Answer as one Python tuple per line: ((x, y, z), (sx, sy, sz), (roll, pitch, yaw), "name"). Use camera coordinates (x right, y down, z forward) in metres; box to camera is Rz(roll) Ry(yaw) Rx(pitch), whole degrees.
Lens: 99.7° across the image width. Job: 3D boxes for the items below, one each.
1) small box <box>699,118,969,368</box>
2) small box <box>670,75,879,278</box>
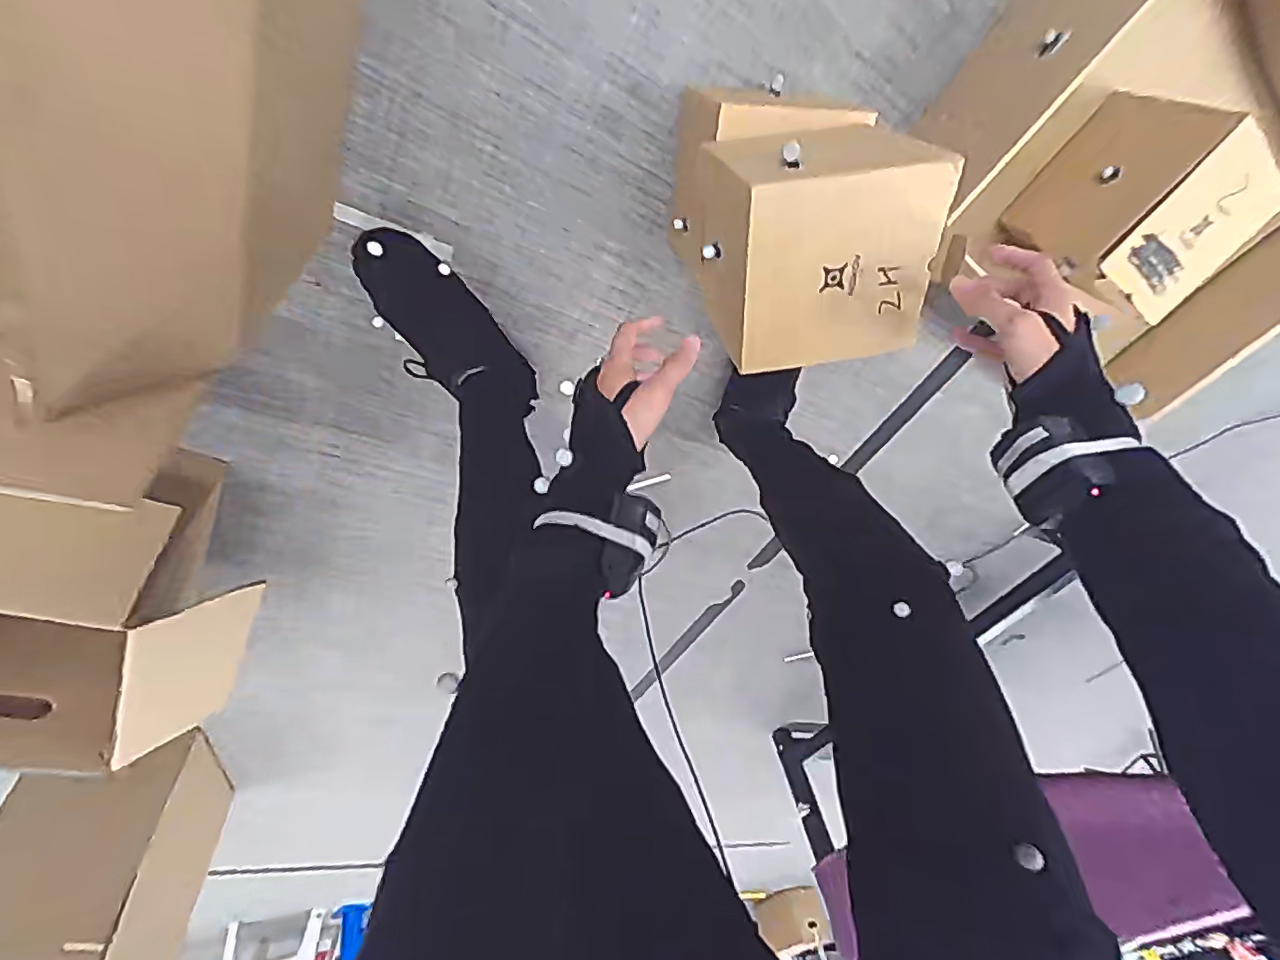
((0.157, -0.229, 0.515), (0.179, 0.176, 0.168), (-10, 133, -5), "small box")
((0.136, -0.349, 0.628), (0.168, 0.176, 0.179), (-3, 131, -10), "small box")
